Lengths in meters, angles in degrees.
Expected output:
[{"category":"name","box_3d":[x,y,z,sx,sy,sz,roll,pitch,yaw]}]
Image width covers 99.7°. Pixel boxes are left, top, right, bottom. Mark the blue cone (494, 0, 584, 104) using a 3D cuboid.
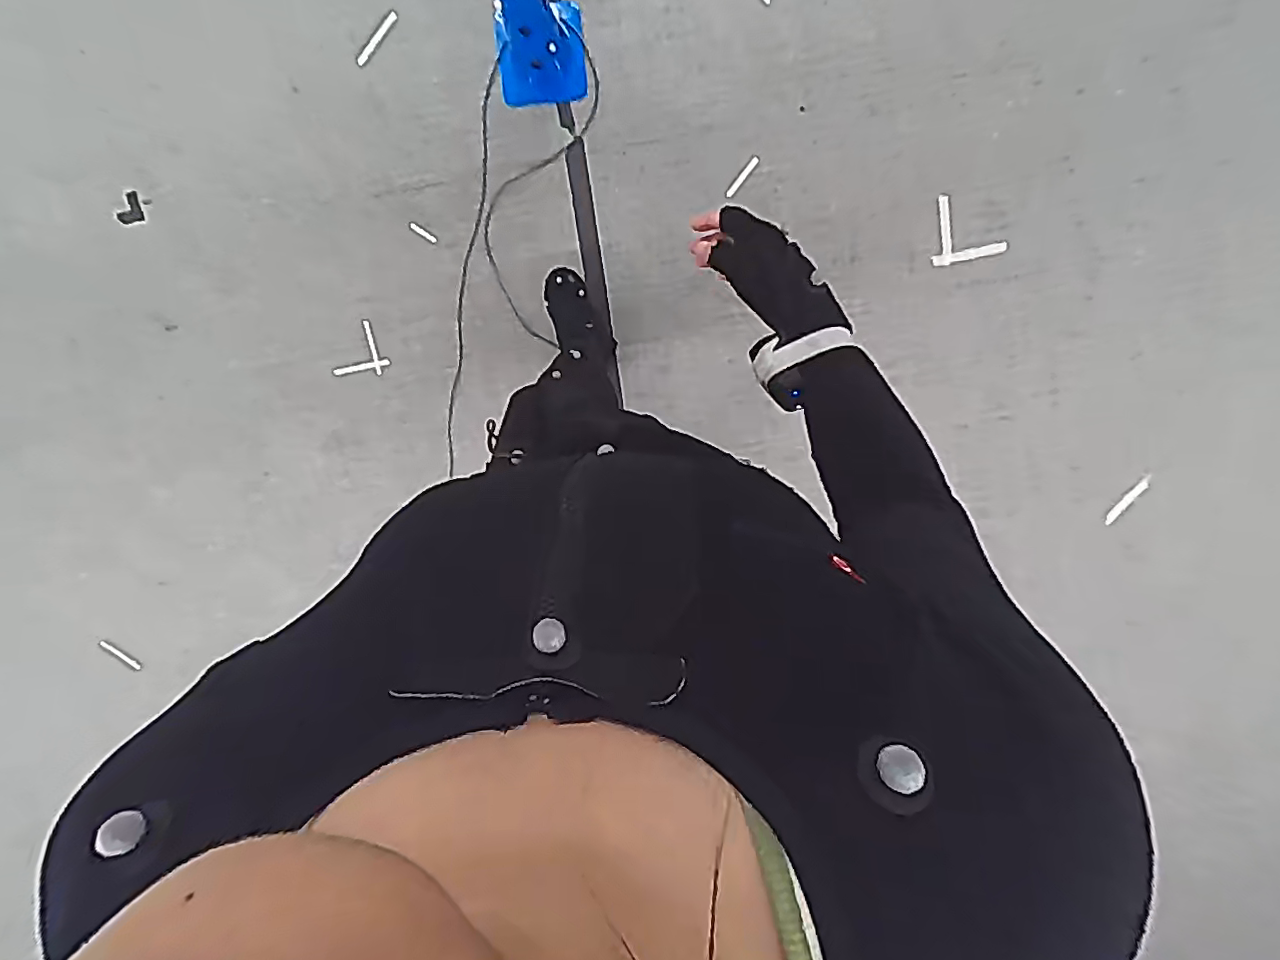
[{"category":"blue cone","box_3d":[-0.232,-0.925,1.064,0.193,0.380,0.192,-5,103,4]}]
